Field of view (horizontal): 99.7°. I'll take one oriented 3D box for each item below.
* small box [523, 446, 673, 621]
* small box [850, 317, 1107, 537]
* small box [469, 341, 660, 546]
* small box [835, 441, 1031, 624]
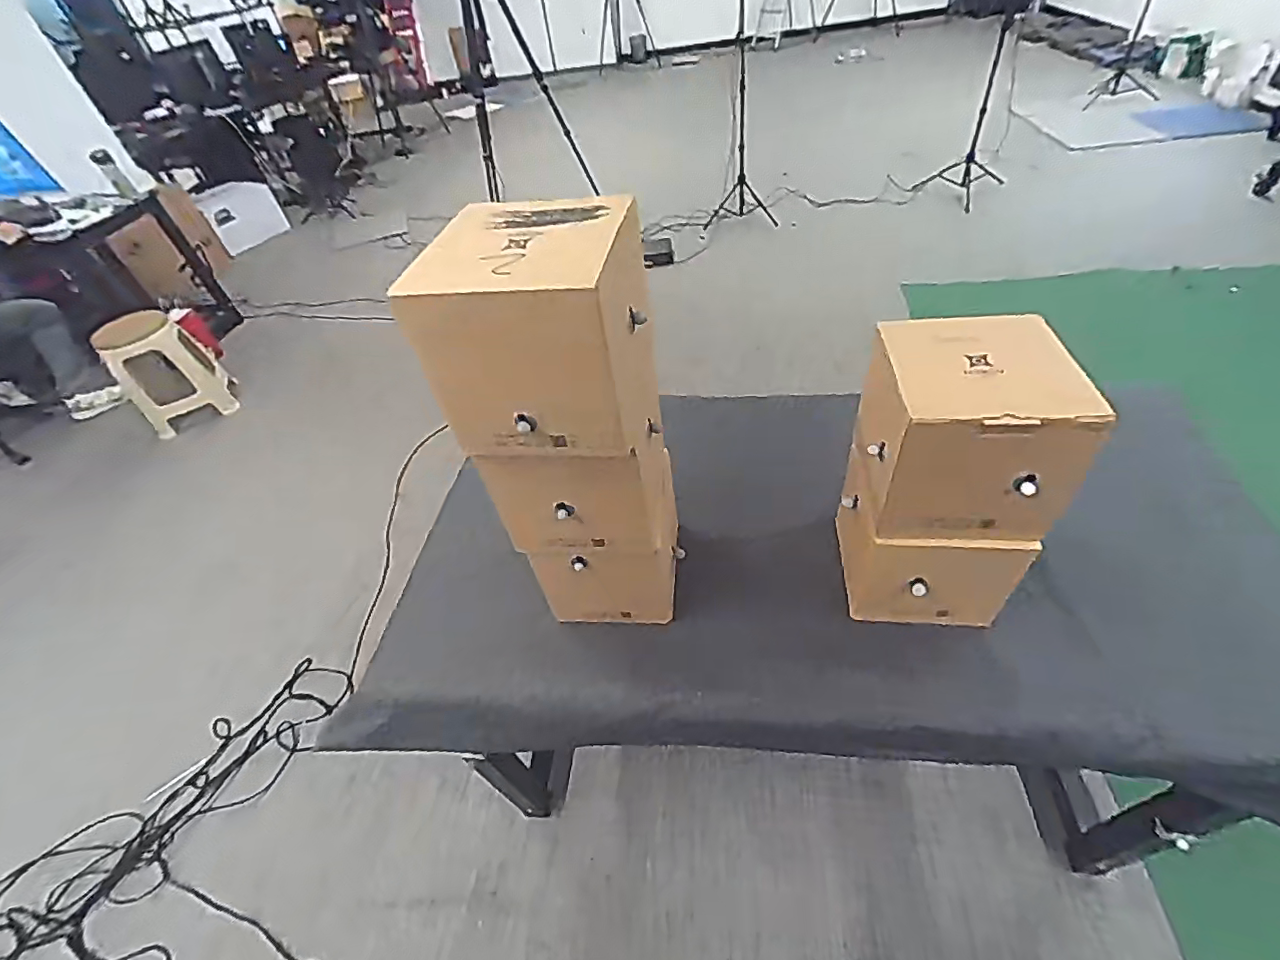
[{"bbox_3d":[-0.044,0.071,0.744,0.168,0.176,0.179,-1,45,8],"label":"small box"},{"bbox_3d":[0.334,-0.055,0.581,0.168,0.176,0.179,1,45,9],"label":"small box"},{"bbox_3d":[-0.069,-0.039,0.623,0.168,0.176,0.179,1,46,8],"label":"small box"},{"bbox_3d":[0.351,0.065,0.690,0.168,0.176,0.179,1,46,10],"label":"small box"}]
